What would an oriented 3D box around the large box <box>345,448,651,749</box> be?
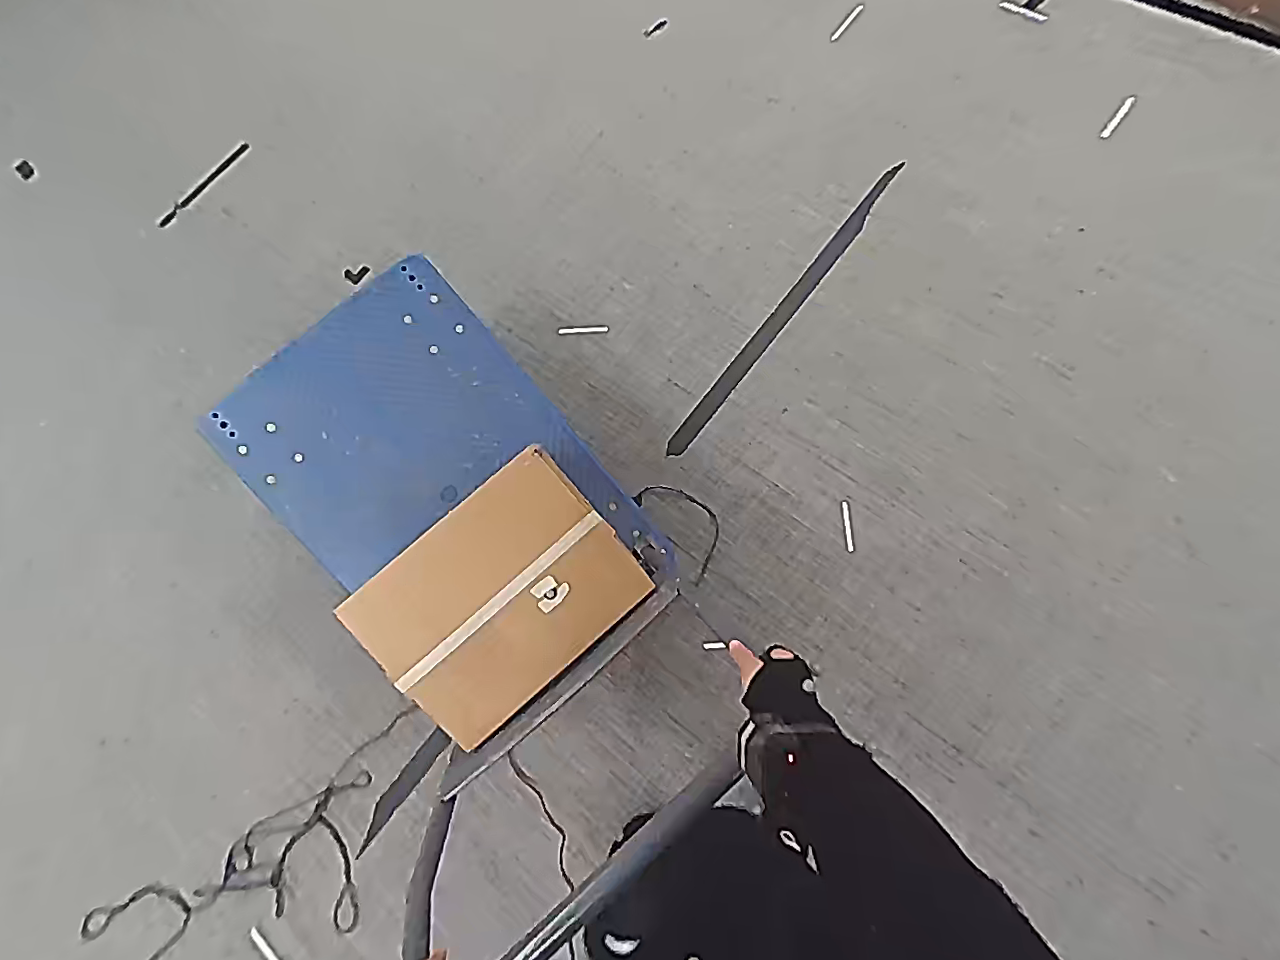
[{"bbox_3d":[-0.243,0.194,1.024,0.408,0.320,0.320,-42,96,-6],"label":"large box"}]
